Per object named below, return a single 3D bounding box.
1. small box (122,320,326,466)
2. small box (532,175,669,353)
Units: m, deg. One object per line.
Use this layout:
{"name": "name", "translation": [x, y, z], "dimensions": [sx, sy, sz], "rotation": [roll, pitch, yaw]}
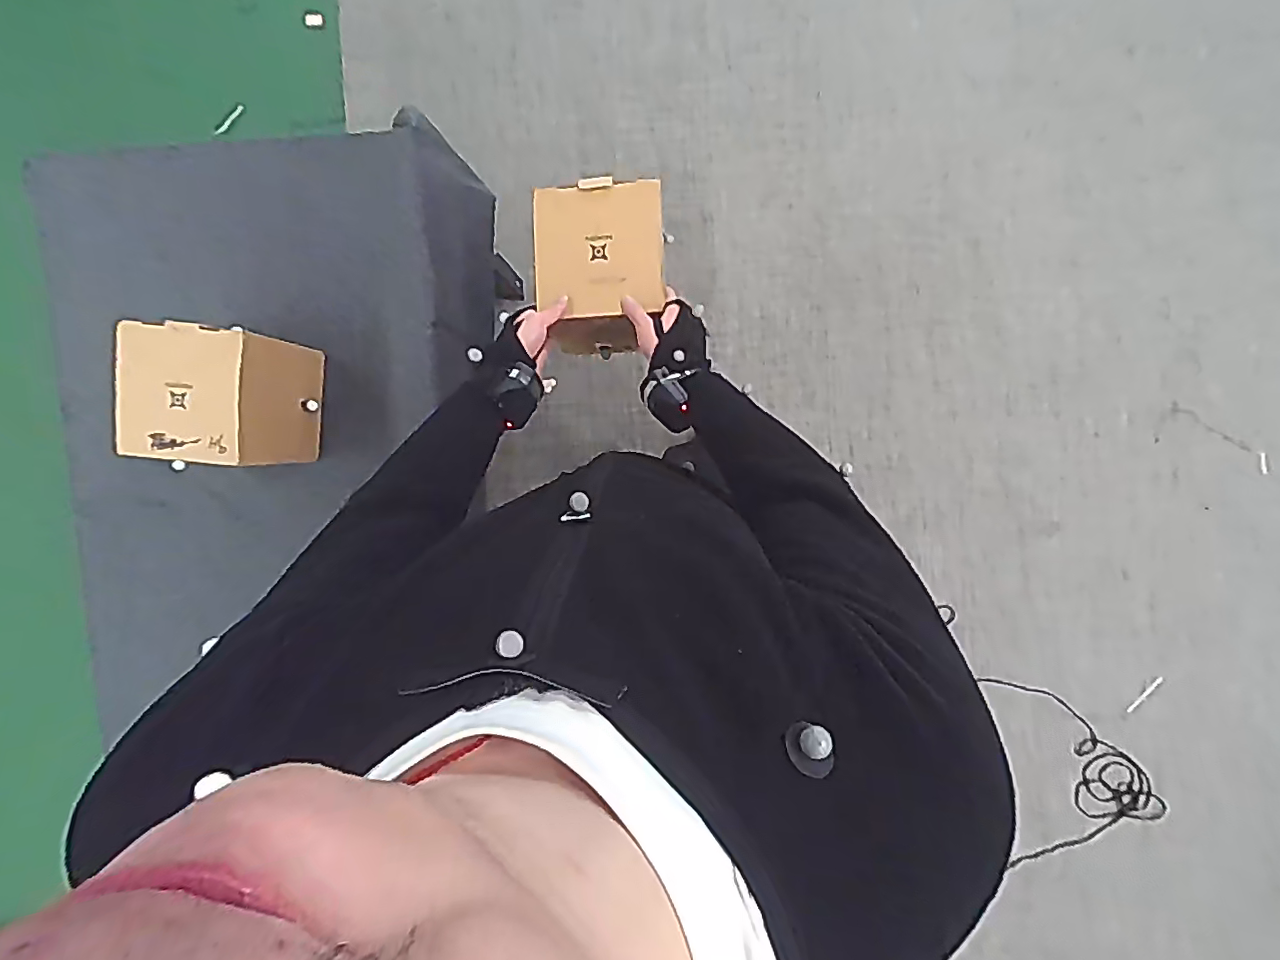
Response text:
{"name": "small box", "translation": [-0.584, -0.117, 0.781], "dimensions": [0.168, 0.176, 0.179], "rotation": [6, 94, 2]}
{"name": "small box", "translation": [-0.047, -0.287, 0.750], "dimensions": [0.168, 0.176, 0.179], "rotation": [-1, 87, 5]}
